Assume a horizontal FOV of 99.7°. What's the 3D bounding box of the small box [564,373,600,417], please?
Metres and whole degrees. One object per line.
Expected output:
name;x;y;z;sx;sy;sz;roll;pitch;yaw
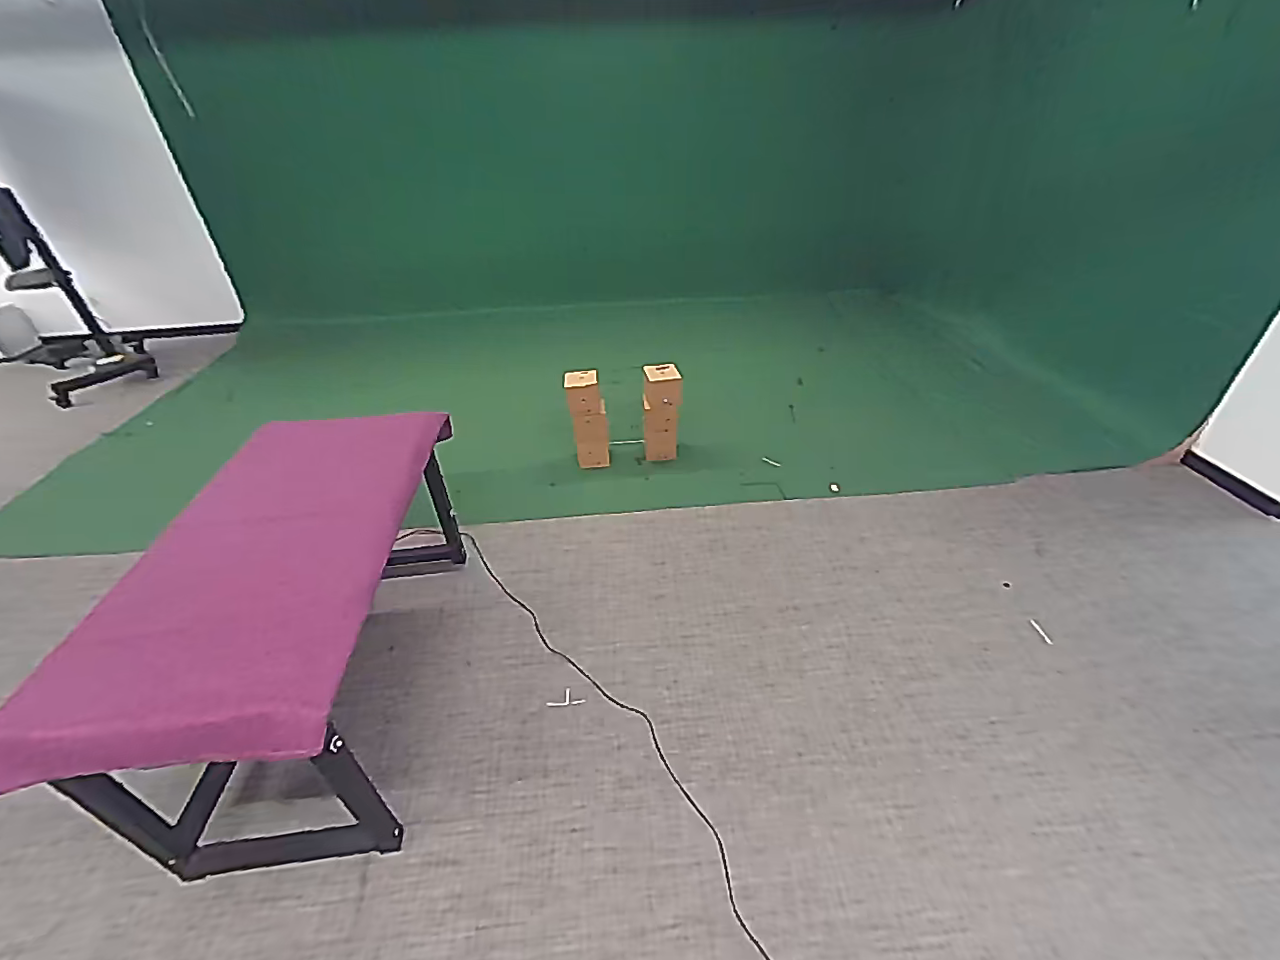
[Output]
small box;-0.297;-0.438;2.810;0.168;0.176;0.179;-6;36;-2

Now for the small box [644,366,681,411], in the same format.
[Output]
small box;0.114;-0.479;2.836;0.168;0.176;0.179;-8;38;-8

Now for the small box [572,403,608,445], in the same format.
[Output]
small box;-0.268;-0.298;2.894;0.179;0.176;0.168;-6;35;-3

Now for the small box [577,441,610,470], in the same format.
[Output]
small box;-0.258;-0.167;2.992;0.168;0.176;0.179;-6;35;-3

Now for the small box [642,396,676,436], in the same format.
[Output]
small box;0.105;-0.346;2.931;0.168;0.176;0.179;-4;36;-4
